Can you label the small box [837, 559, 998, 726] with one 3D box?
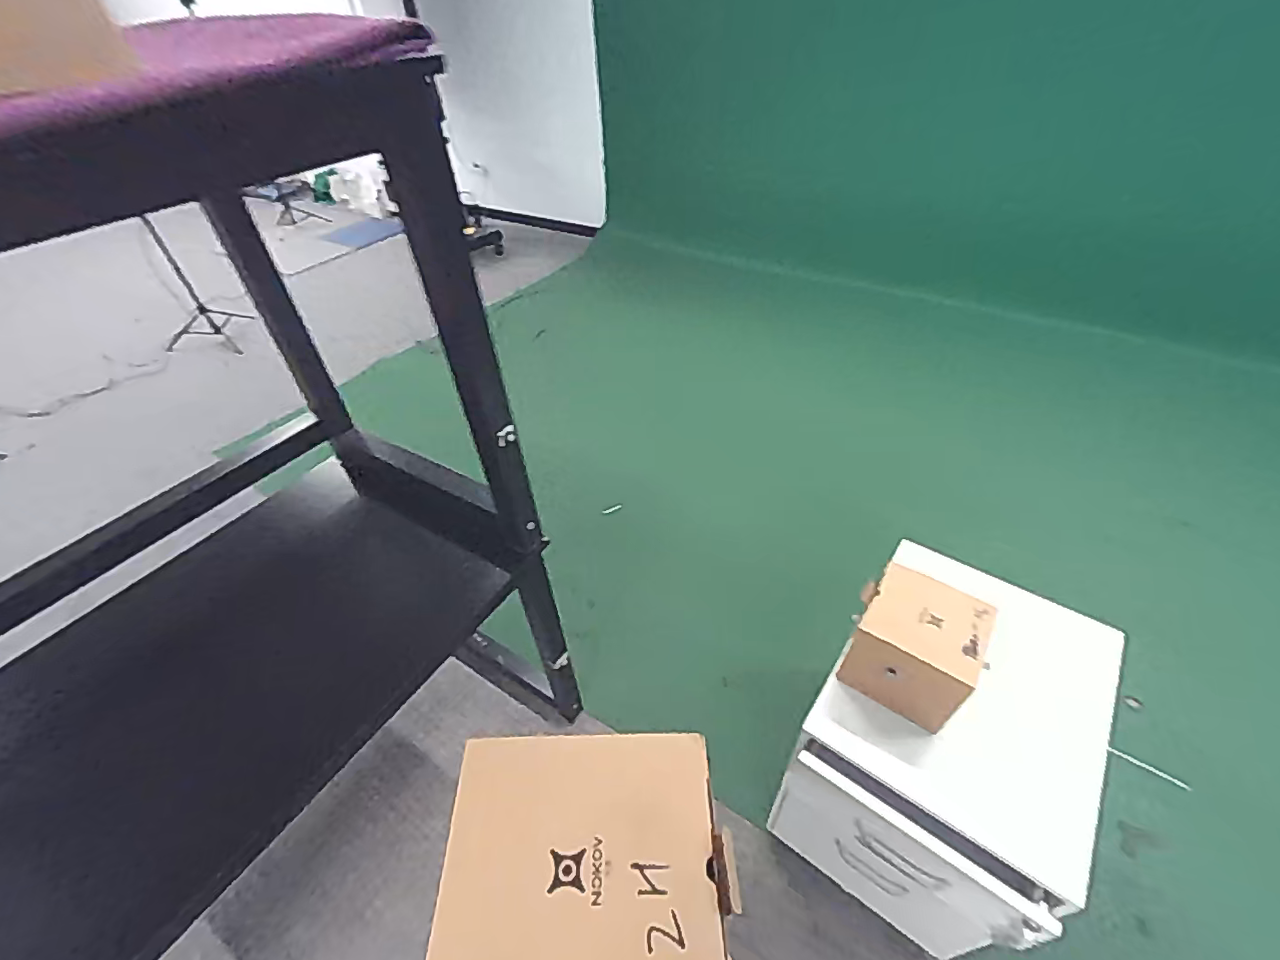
[{"bbox_3d":[0.449,0.270,0.896,0.179,0.176,0.168,25,50,27],"label":"small box"}]
